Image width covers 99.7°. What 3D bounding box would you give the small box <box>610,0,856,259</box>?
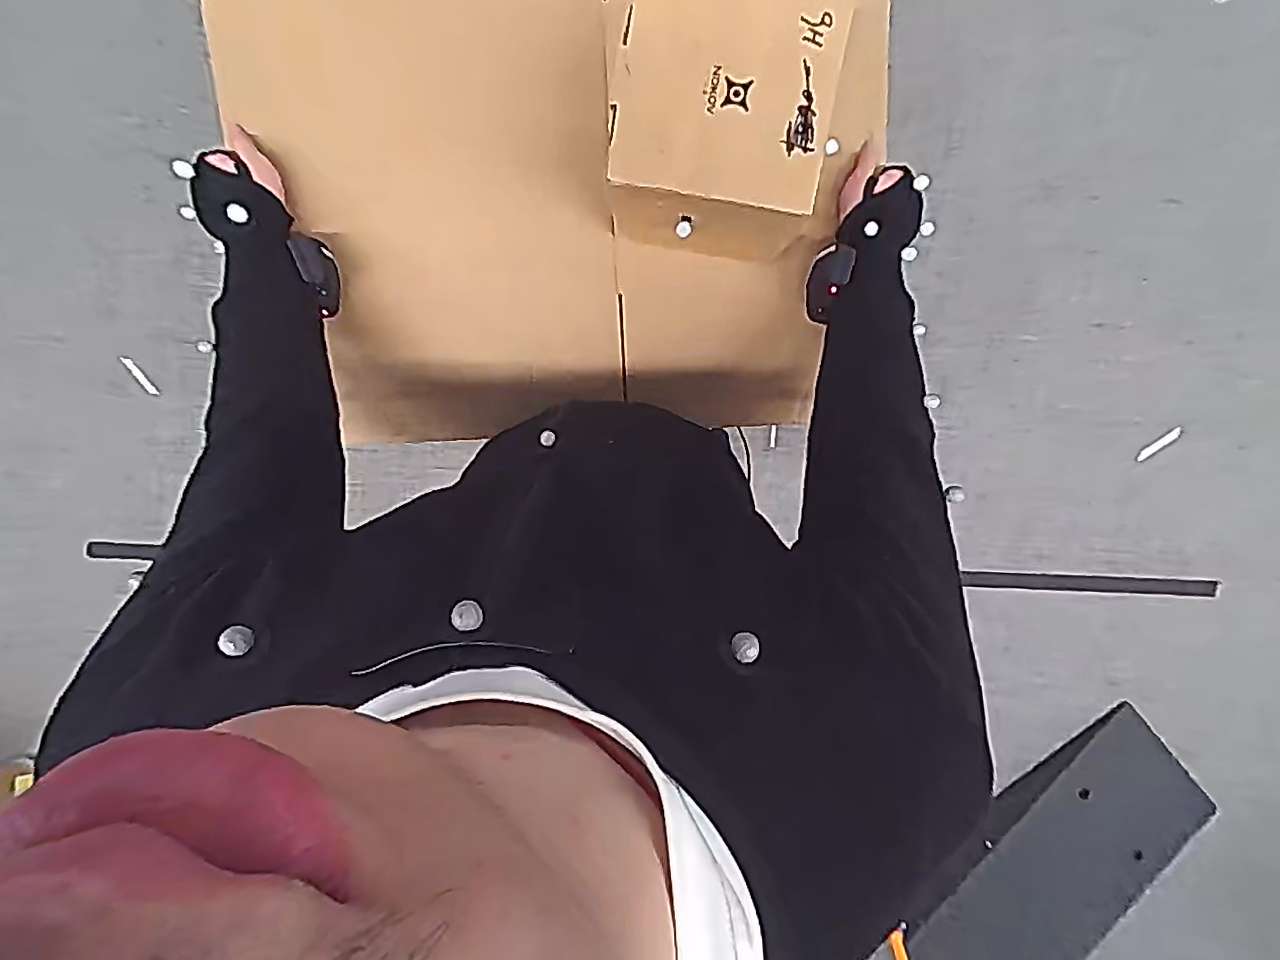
[{"bbox_3d":[0.078,-0.327,0.521,0.179,0.176,0.168,10,98,2],"label":"small box"}]
